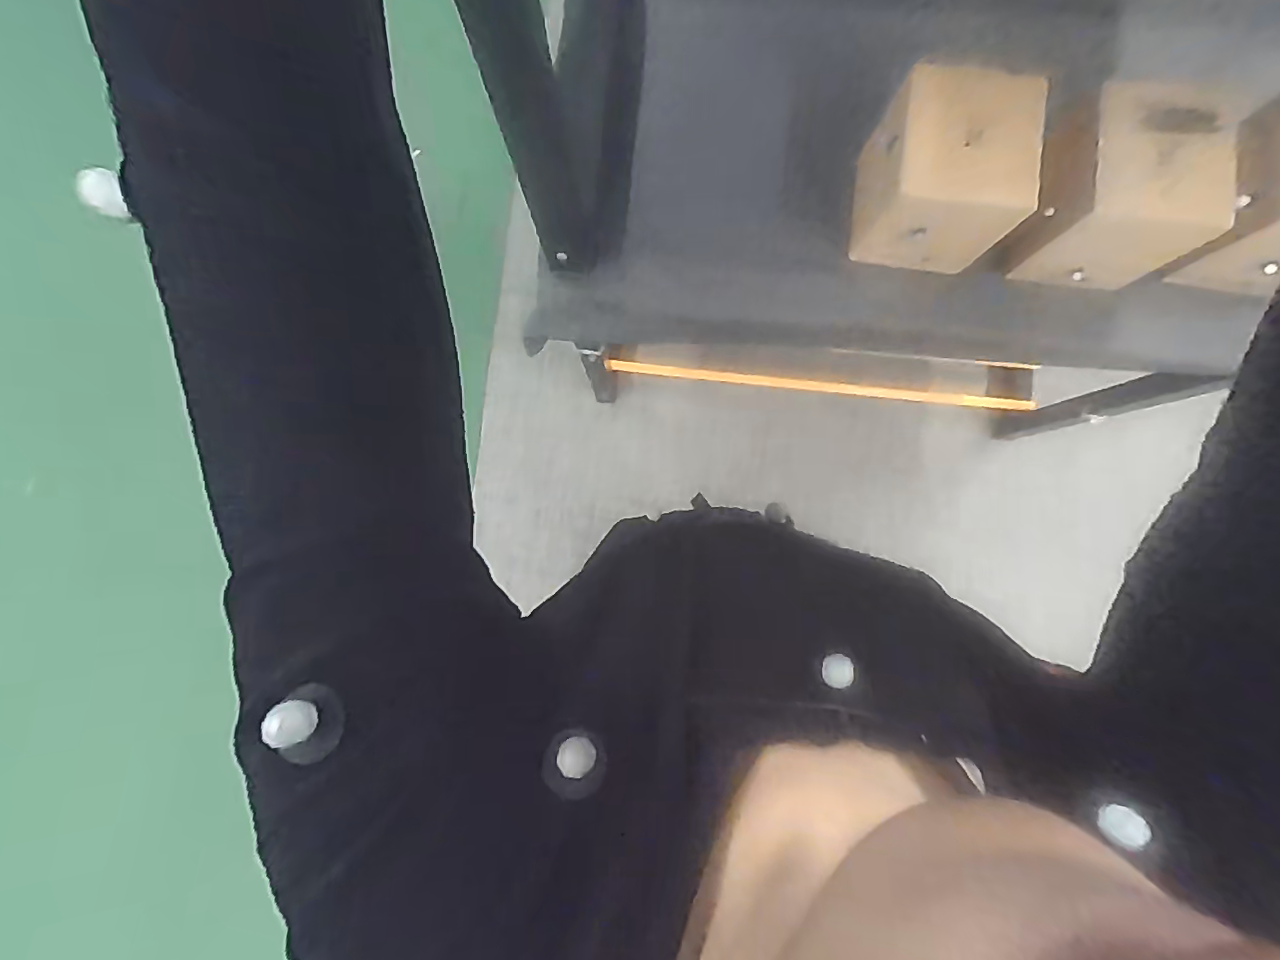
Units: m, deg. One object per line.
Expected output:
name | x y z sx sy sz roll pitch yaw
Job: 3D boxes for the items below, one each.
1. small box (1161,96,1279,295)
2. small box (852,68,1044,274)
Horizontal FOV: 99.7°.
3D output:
small box | 0.854 -0.370 0.721 0.168 0.176 0.179 9 83 2
small box | 0.403 -0.405 0.736 0.168 0.176 0.179 8 84 2
